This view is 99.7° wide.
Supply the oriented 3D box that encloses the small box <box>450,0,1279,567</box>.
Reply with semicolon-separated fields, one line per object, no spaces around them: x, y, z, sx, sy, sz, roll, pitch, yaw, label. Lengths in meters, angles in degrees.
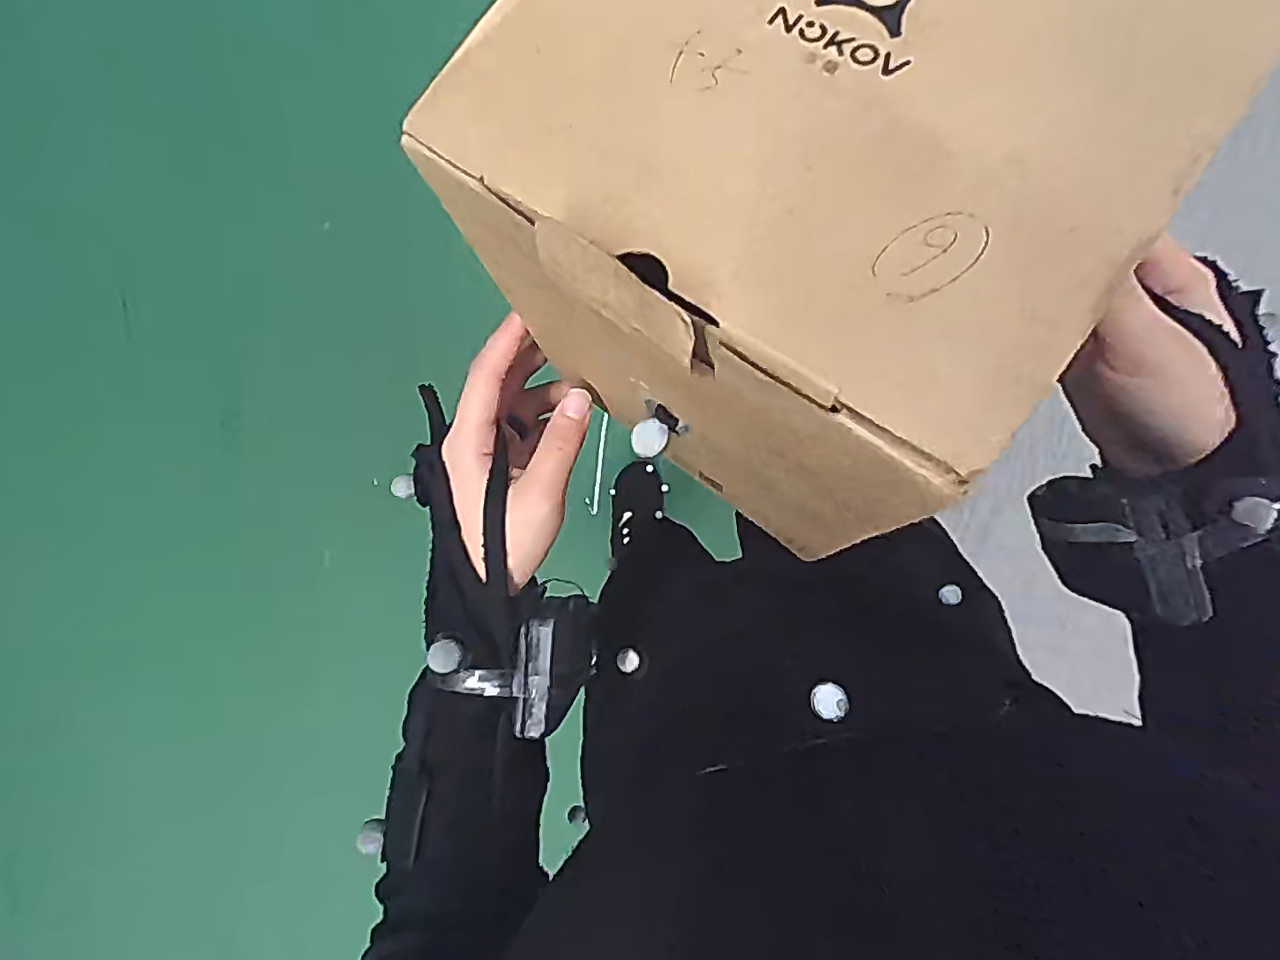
0.069;-0.079;0.221;0.168;0.176;0.179;38;85;13;small box
